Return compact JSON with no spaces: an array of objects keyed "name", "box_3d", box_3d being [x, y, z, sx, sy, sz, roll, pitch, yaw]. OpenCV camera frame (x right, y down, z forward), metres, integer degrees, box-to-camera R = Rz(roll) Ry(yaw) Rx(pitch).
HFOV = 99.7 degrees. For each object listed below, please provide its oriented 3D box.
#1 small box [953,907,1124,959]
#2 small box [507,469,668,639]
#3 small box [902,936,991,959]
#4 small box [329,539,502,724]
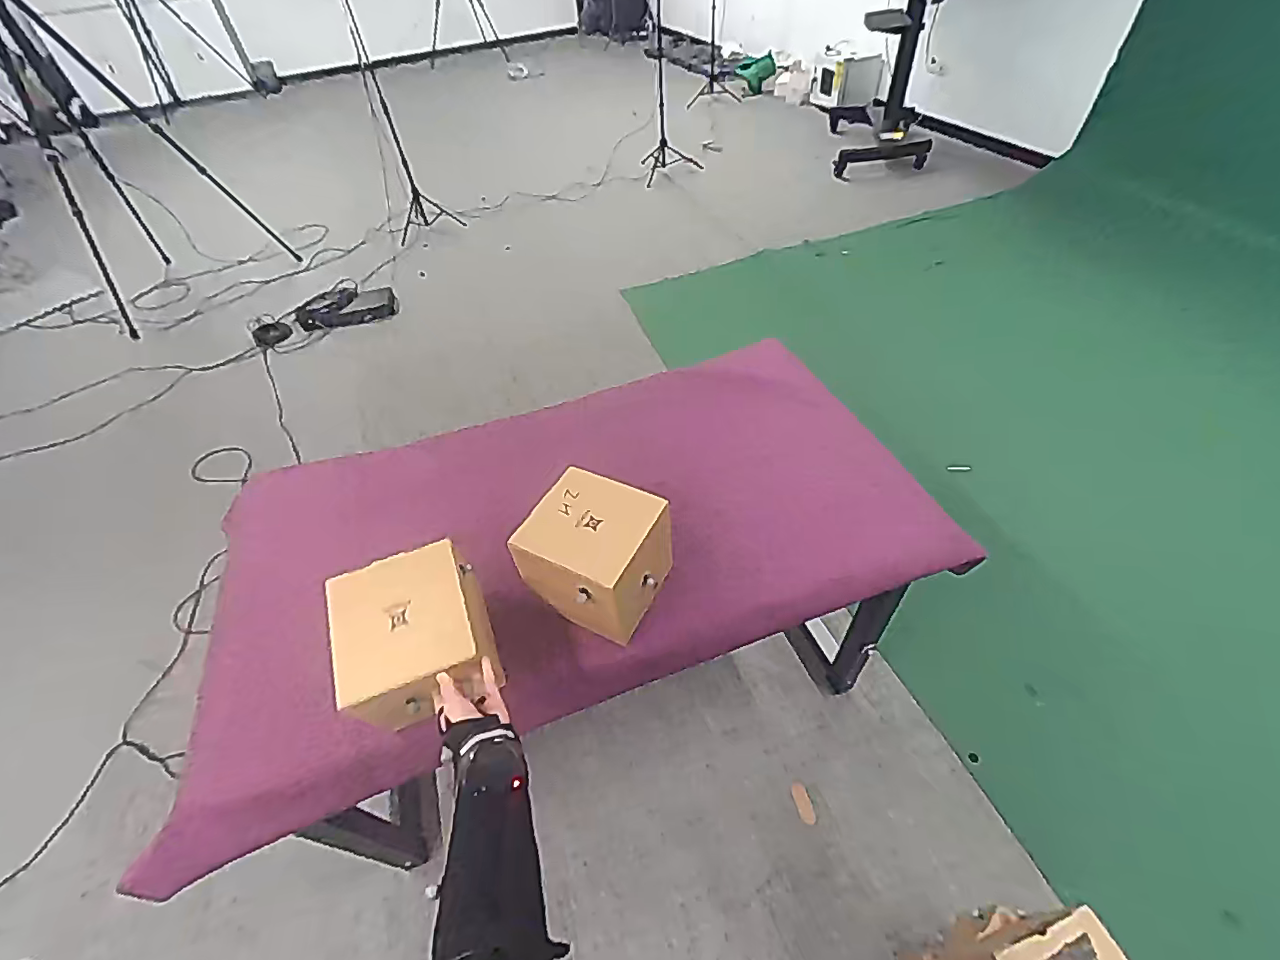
[{"name":"small box","box_3d":[0.579,0.733,0.748,0.168,0.176,0.179,-16,50,-10]},{"name":"small box","box_3d":[-0.067,0.117,0.825,0.179,0.176,0.168,19,51,22]},{"name":"small box","box_3d":[0.605,0.958,0.987,0.179,0.176,0.168,-11,48,-4]},{"name":"small box","box_3d":[-0.304,0.217,0.751,0.168,0.176,0.179,-19,54,-13]}]
